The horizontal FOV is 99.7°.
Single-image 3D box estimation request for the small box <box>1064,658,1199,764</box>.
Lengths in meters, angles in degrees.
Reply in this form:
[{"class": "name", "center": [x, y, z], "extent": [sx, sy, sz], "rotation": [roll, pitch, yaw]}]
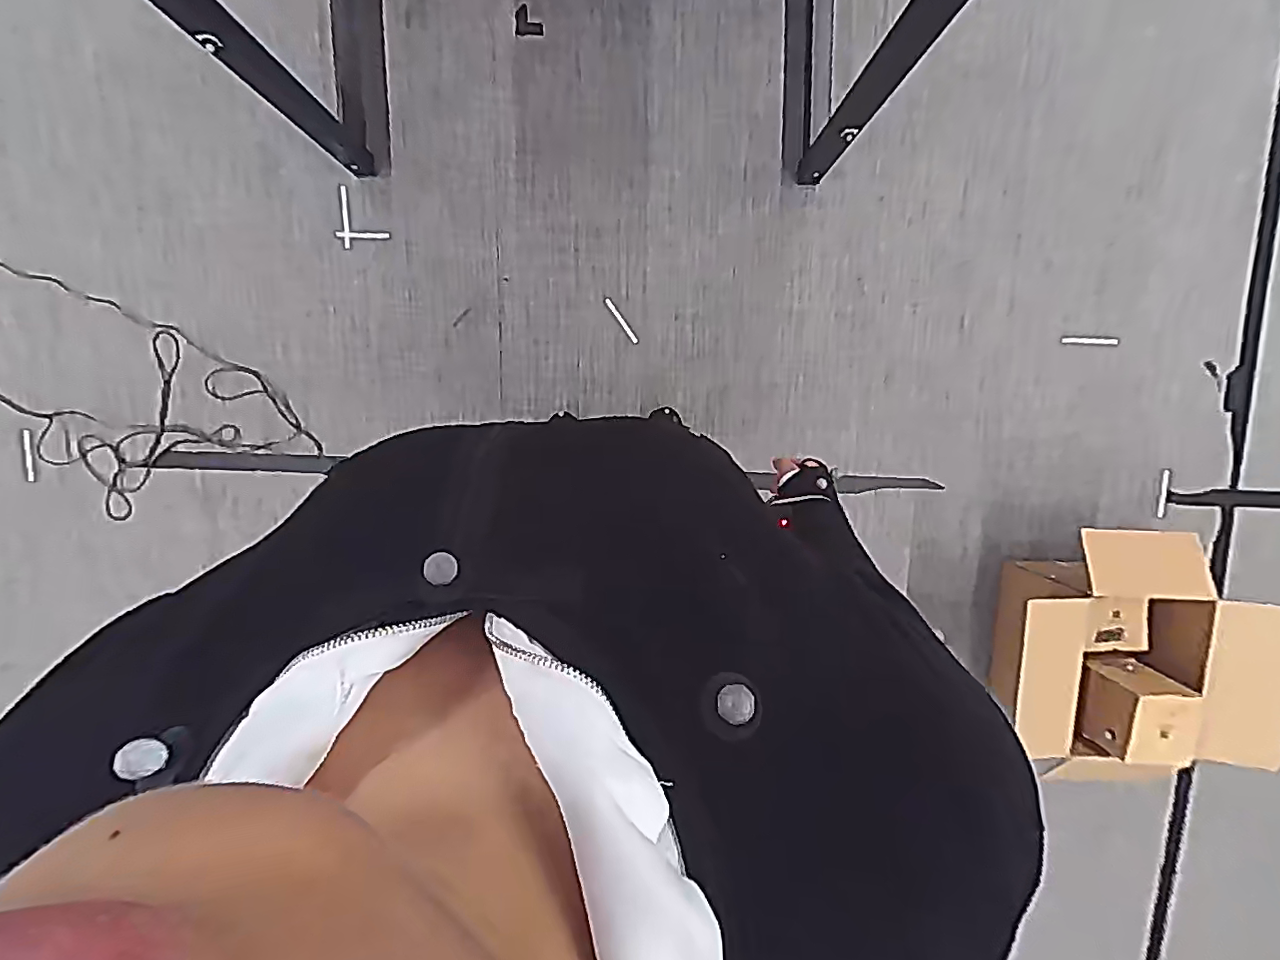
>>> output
[{"class": "small box", "center": [1.195, 0.563, 1.328], "extent": [0.168, 0.176, 0.179], "rotation": [3, 98, -3]}]
